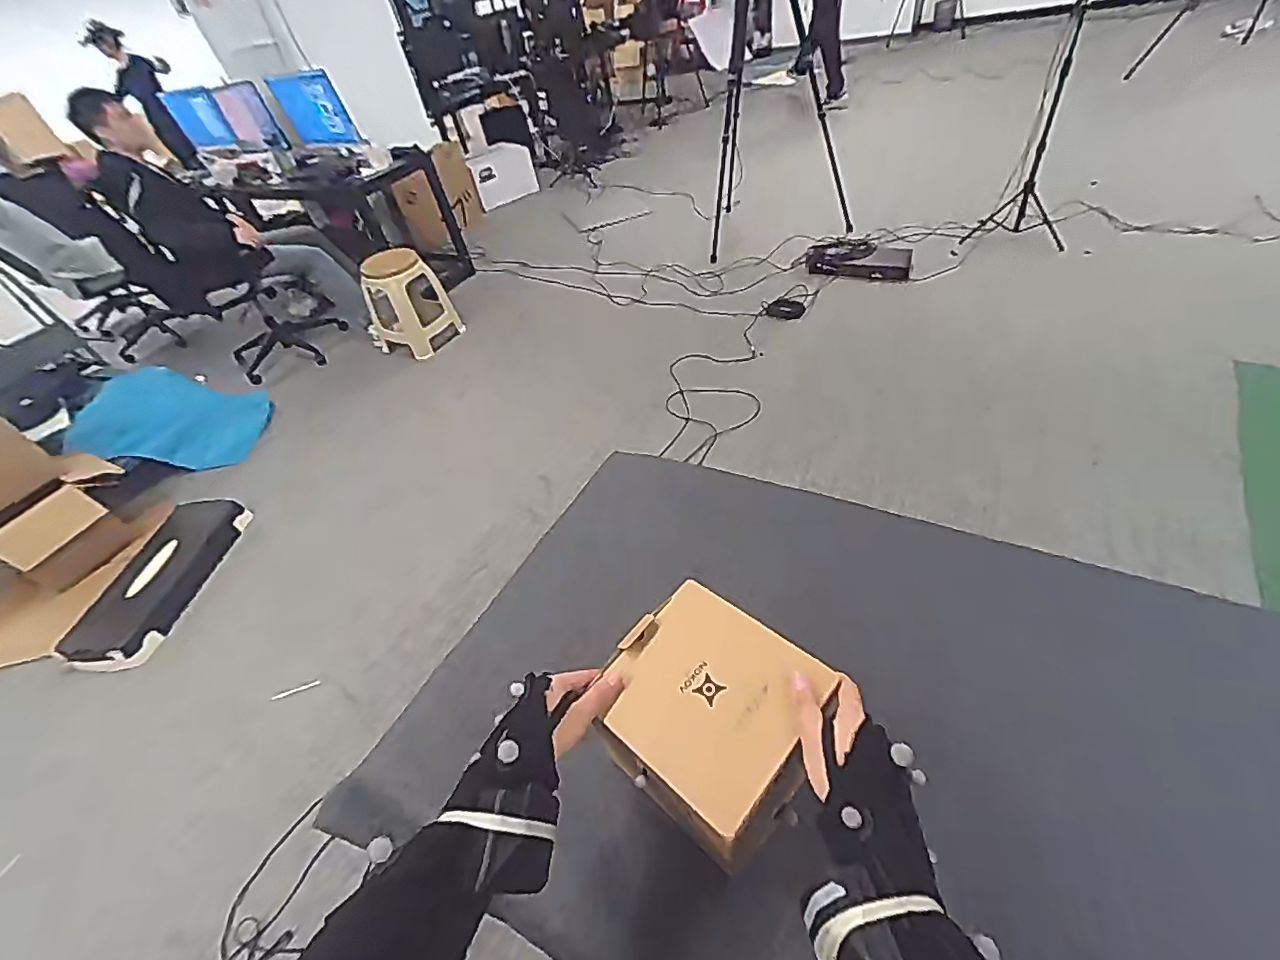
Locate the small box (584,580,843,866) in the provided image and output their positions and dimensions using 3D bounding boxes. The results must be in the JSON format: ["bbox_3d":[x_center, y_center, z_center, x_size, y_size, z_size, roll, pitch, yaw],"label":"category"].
[{"bbox_3d":[0.075,0.241,0.540,0.179,0.176,0.168,28,58,33],"label":"small box"}]
